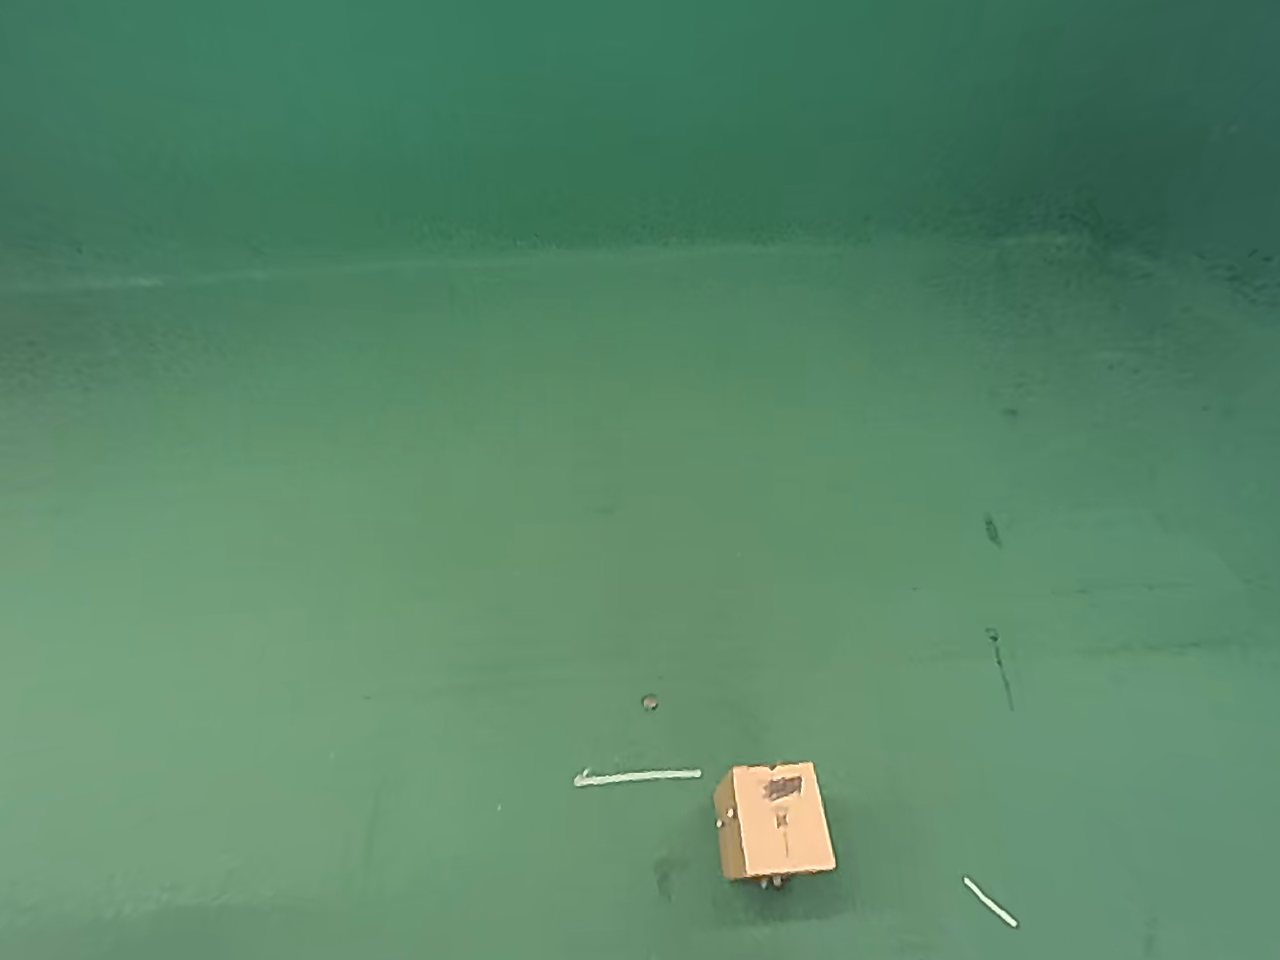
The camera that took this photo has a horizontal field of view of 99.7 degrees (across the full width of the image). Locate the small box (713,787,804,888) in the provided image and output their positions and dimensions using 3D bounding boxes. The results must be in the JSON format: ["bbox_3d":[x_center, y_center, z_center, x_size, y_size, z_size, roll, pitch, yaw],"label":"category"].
[{"bbox_3d":[0.260,0.798,1.207,0.168,0.176,0.179,-2,52,-2],"label":"small box"}]

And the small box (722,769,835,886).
[{"bbox_3d":[0.264,0.695,1.079,0.168,0.176,0.179,-2,52,-2],"label":"small box"}]
